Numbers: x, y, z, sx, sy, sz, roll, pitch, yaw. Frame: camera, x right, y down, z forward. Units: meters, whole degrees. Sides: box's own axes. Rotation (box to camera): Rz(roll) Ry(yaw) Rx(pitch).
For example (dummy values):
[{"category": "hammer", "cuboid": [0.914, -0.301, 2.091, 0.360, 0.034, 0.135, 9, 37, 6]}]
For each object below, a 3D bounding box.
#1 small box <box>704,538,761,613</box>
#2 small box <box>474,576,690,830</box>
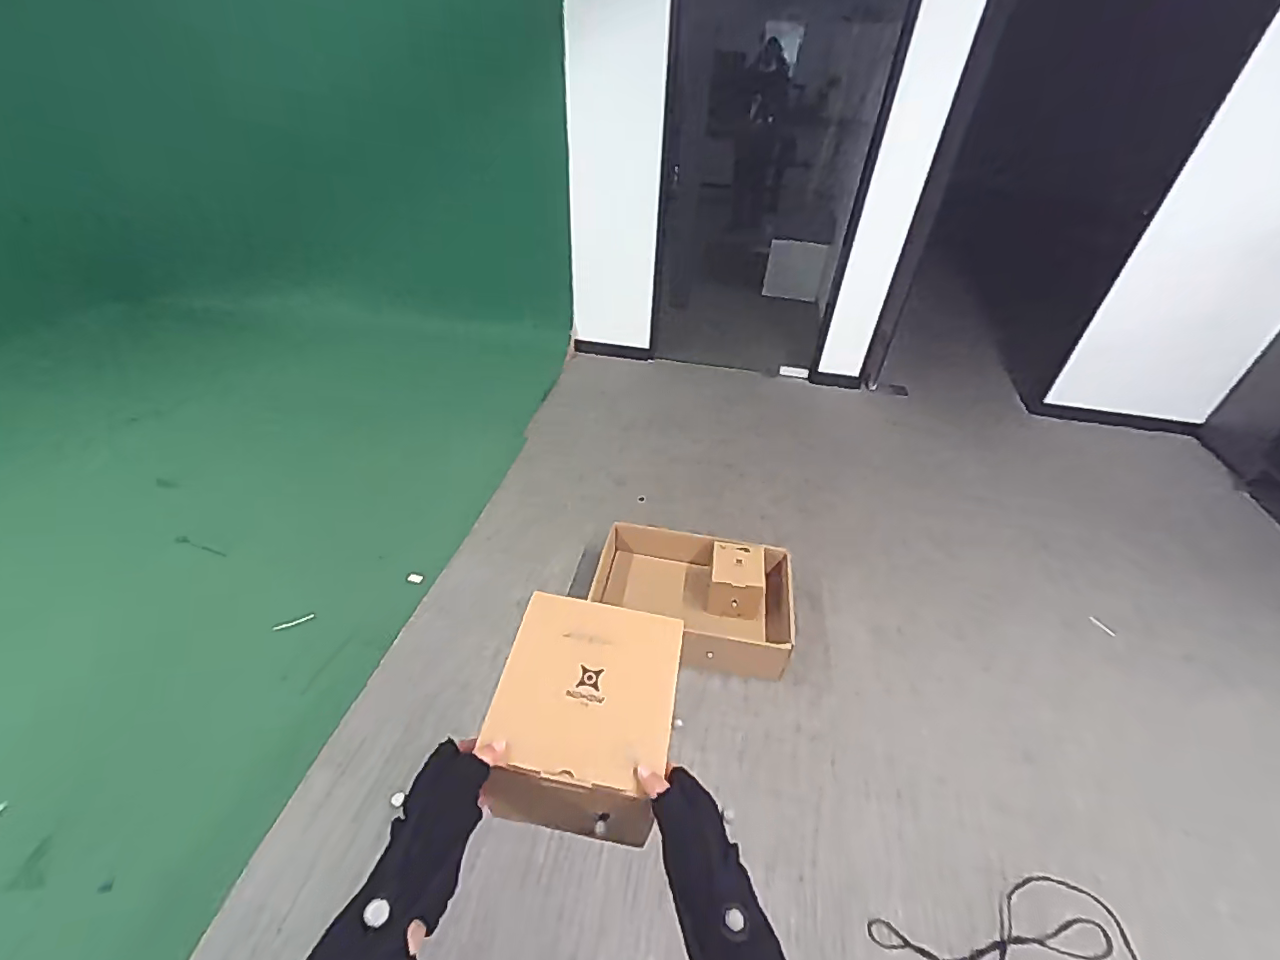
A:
[{"category": "small box", "cuboid": [0.300, 0.317, 1.779, 0.168, 0.176, 0.179, 5, 39, 4]}, {"category": "small box", "cuboid": [-0.050, 0.231, 0.558, 0.168, 0.176, 0.179, 11, 44, 4]}]
